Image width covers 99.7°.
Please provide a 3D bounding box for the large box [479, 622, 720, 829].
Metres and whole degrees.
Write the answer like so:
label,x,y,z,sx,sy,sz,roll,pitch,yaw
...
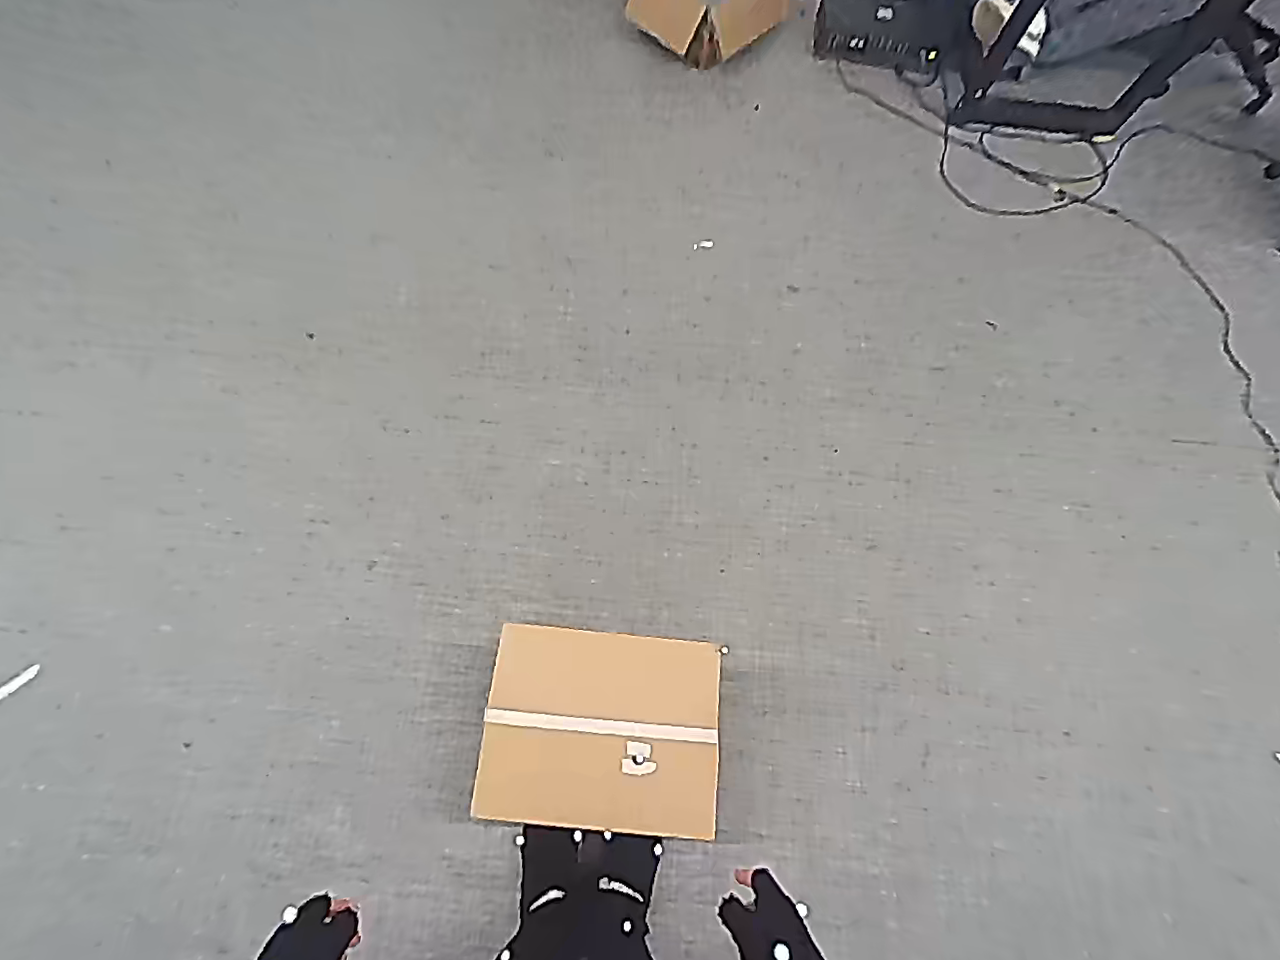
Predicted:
label,x,y,z,sx,sy,sz,roll,pitch,yaw
large box,-0.070,0.476,1.085,0.408,0.320,0.320,6,69,-2
